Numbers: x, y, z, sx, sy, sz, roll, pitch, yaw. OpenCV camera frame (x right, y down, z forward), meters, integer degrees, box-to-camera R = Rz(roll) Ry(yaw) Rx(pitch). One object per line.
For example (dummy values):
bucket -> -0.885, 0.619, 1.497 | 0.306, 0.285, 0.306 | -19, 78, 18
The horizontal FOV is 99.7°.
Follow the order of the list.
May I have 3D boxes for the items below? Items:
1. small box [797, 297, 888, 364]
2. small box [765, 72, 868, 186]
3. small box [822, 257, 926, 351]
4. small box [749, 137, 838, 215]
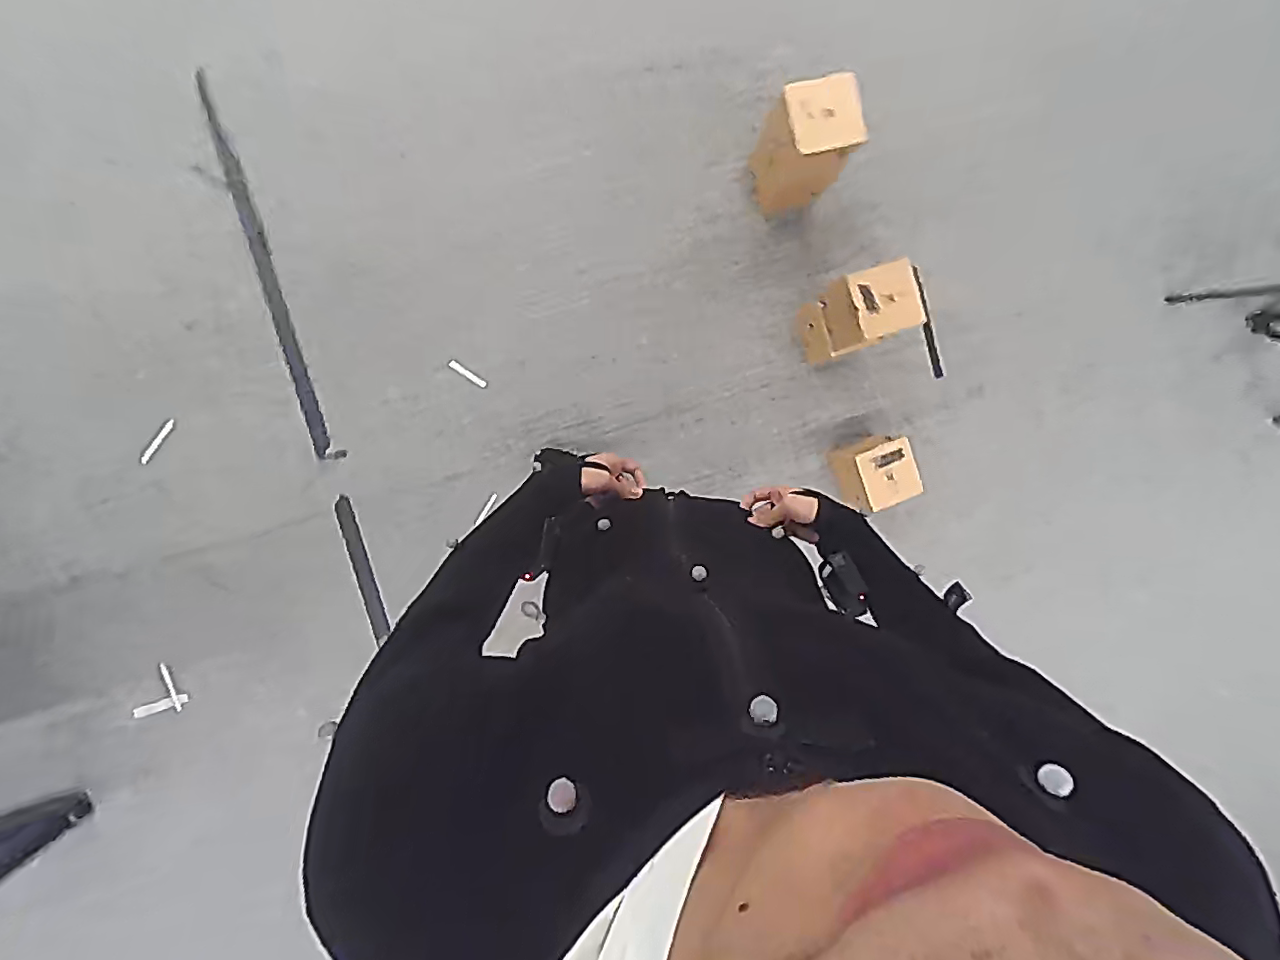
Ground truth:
small box -> 0.574, -0.445, 1.565 | 0.179, 0.176, 0.168 | -19, 95, -5
small box -> 0.436, -0.871, 1.358 | 0.179, 0.176, 0.168 | -14, 94, -4
small box -> 0.594, -0.447, 1.402 | 0.179, 0.176, 0.168 | -19, 95, -6
small box -> 0.426, -0.875, 1.522 | 0.179, 0.176, 0.168 | -14, 94, -5
